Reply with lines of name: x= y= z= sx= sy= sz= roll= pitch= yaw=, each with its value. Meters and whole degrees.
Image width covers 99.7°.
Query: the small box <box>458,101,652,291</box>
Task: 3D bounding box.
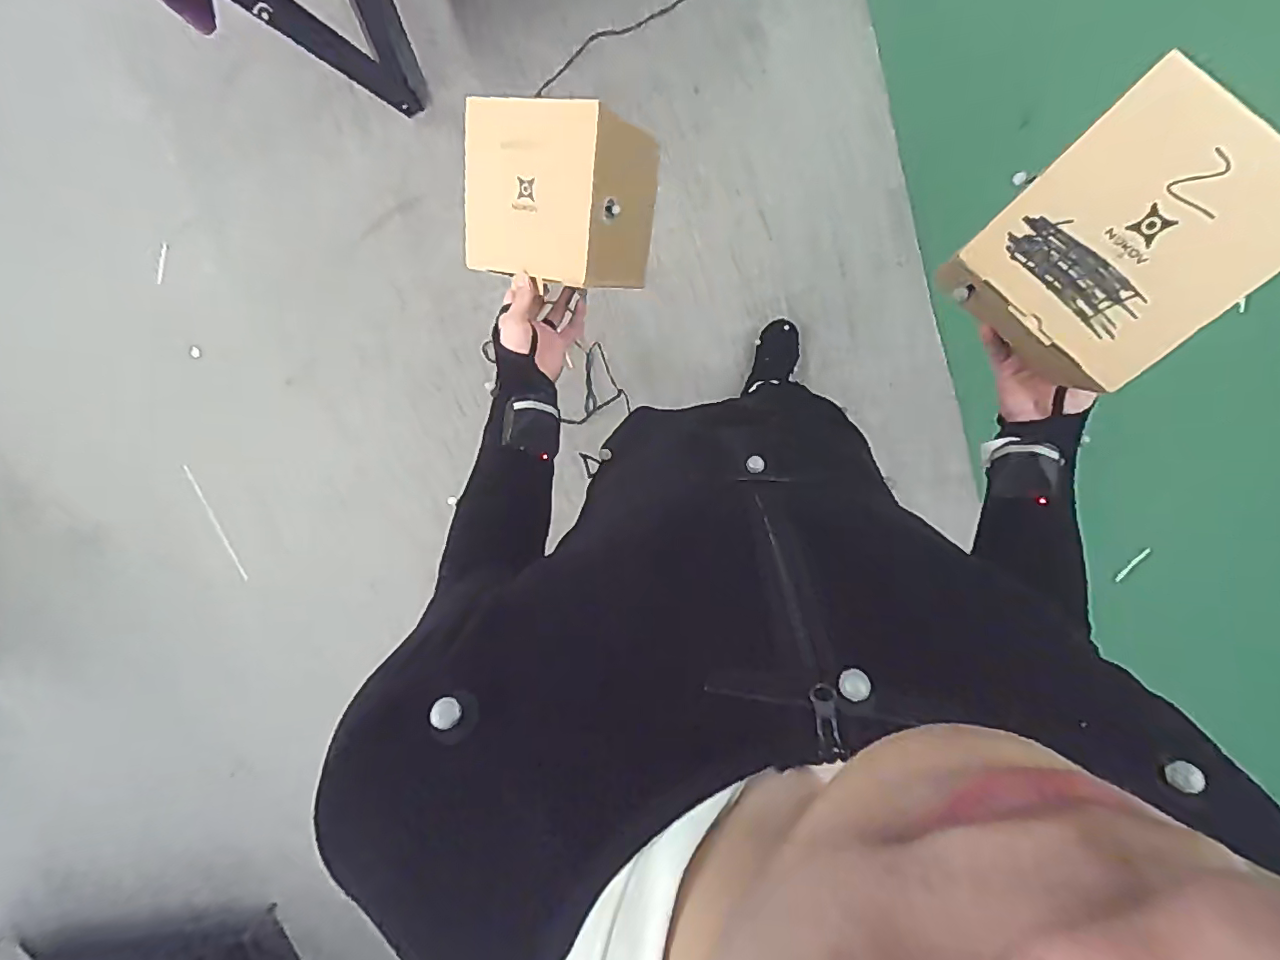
small box: x=-0.097 y=-0.328 z=0.652 sx=0.168 sy=0.176 sz=0.179 roll=16 pitch=112 yaw=20
